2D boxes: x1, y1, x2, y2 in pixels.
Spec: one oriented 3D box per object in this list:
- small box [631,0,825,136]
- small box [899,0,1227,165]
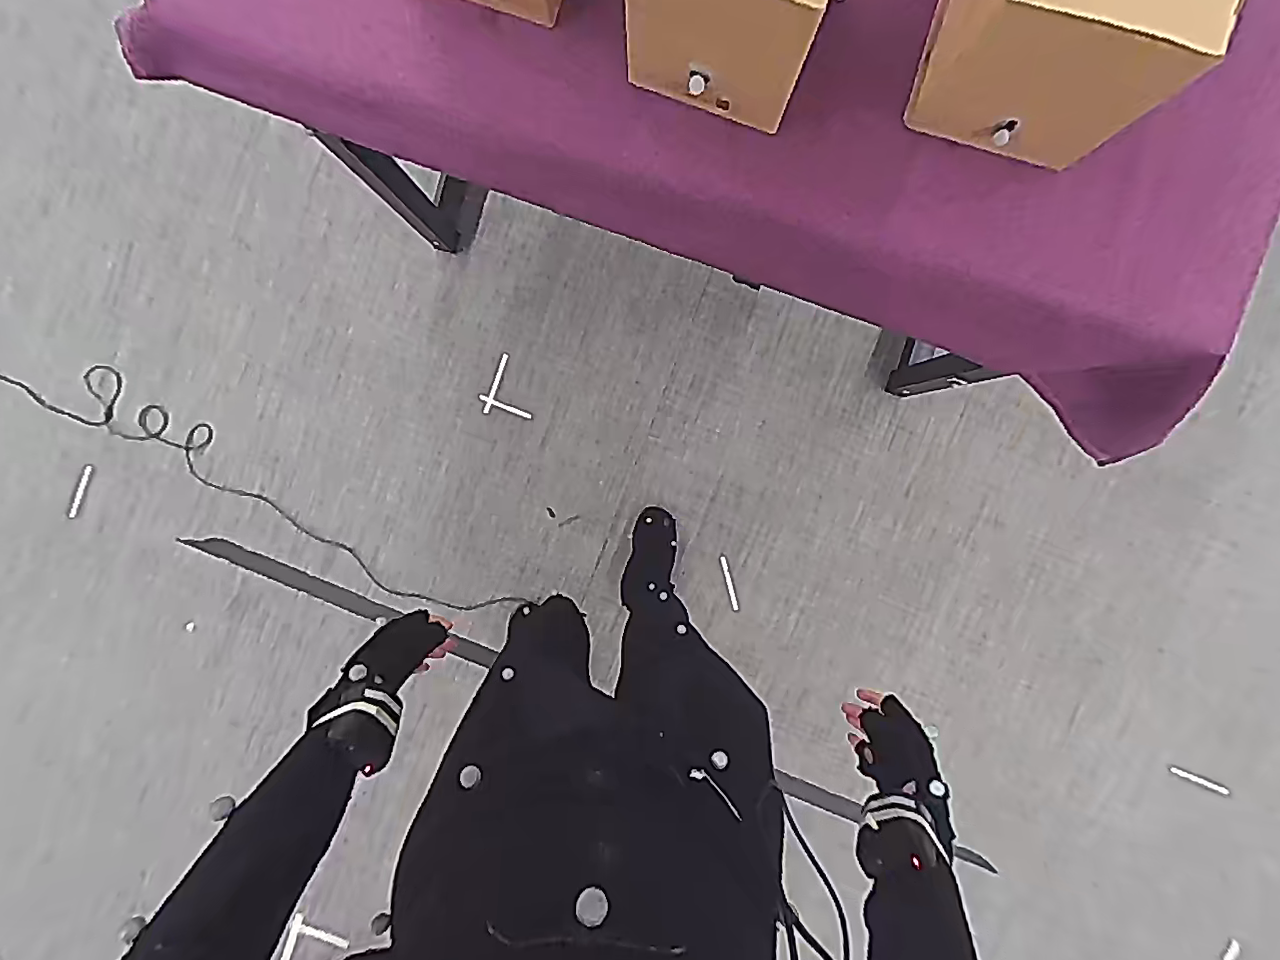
[{"bbox_3d":[0.091,-0.468,0.494,0.168,0.176,0.179,20,93,0],"label":"small box"},{"bbox_3d":[0.376,-0.424,0.493,0.179,0.176,0.168,16,93,0],"label":"small box"}]
